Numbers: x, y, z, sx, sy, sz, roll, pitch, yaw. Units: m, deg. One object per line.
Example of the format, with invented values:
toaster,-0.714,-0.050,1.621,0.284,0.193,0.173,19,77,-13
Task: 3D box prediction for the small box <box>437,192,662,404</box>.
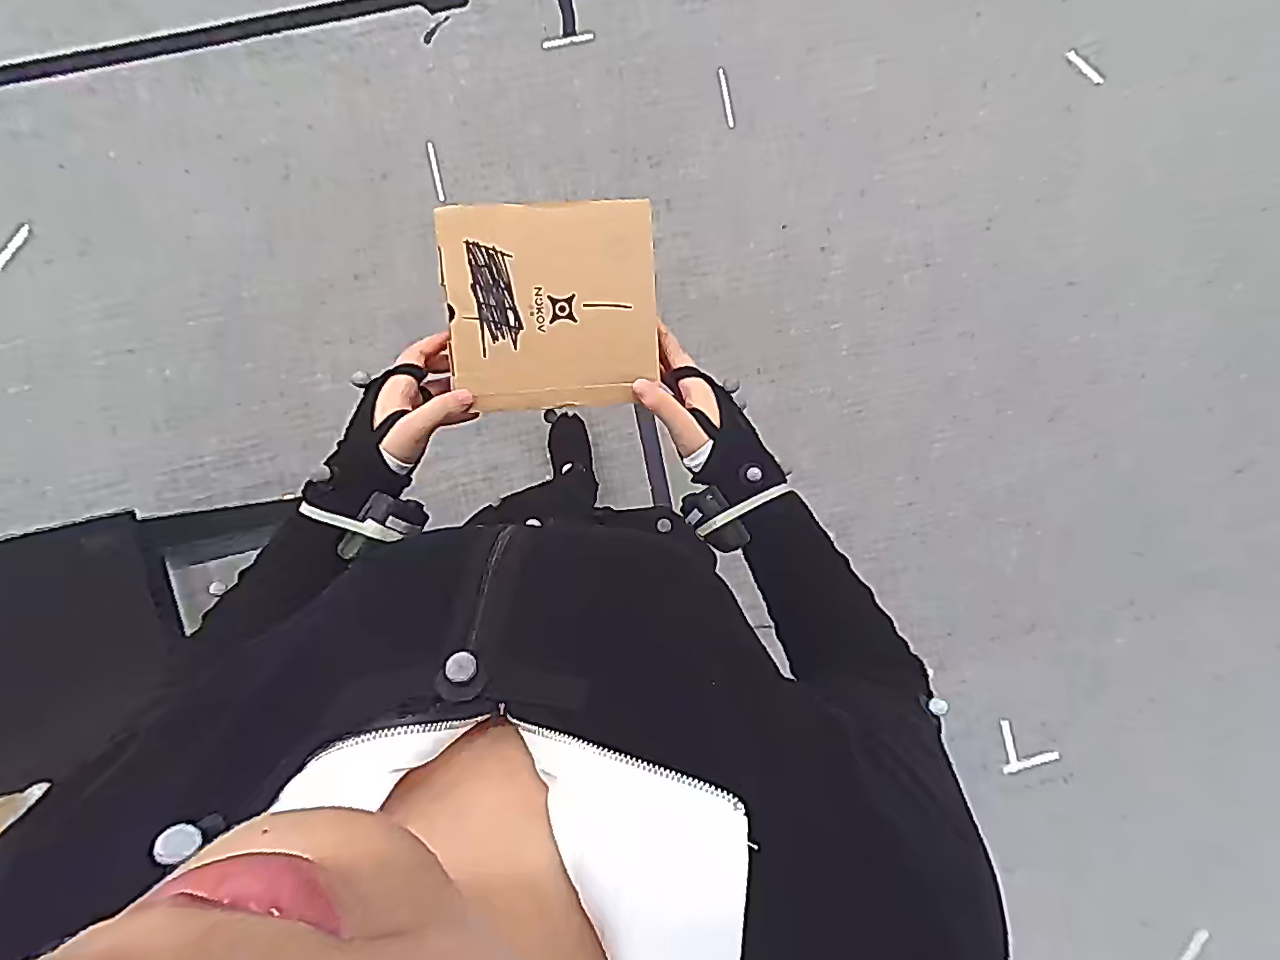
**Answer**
small box,-0.076,-0.159,0.521,0.179,0.176,0.168,-4,100,-4
